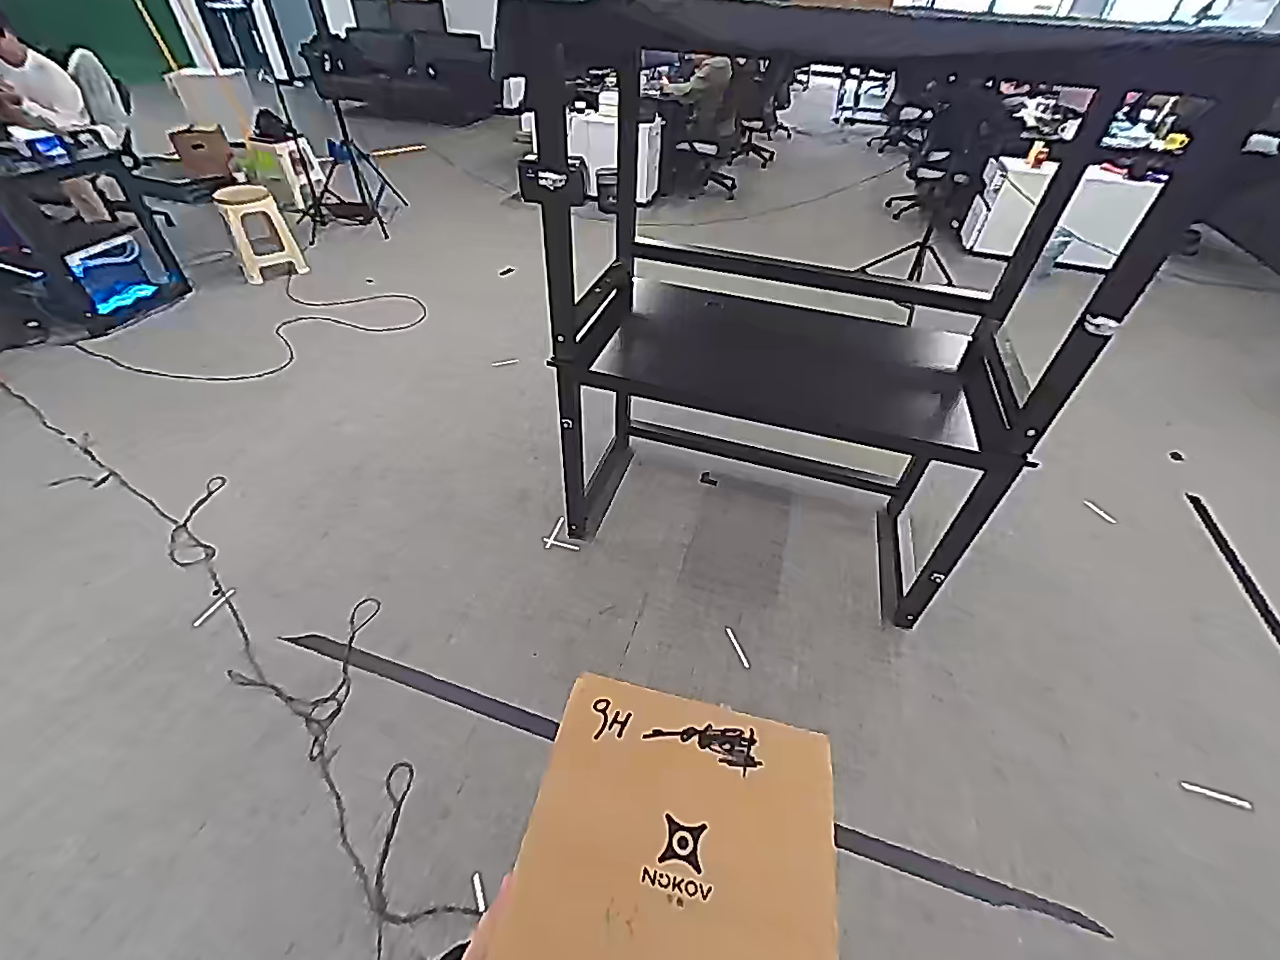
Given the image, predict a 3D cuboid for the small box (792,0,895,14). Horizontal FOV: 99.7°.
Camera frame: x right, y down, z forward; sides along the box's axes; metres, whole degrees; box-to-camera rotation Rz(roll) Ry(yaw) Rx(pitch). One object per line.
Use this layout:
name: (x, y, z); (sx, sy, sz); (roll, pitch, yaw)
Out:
small box: (0.350, -0.875, 0.875); (0.168, 0.176, 0.179); (14, 42, 11)

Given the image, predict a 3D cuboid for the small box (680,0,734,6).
small box: (0.089, -0.936, 0.928); (0.168, 0.176, 0.179); (14, 43, 9)
